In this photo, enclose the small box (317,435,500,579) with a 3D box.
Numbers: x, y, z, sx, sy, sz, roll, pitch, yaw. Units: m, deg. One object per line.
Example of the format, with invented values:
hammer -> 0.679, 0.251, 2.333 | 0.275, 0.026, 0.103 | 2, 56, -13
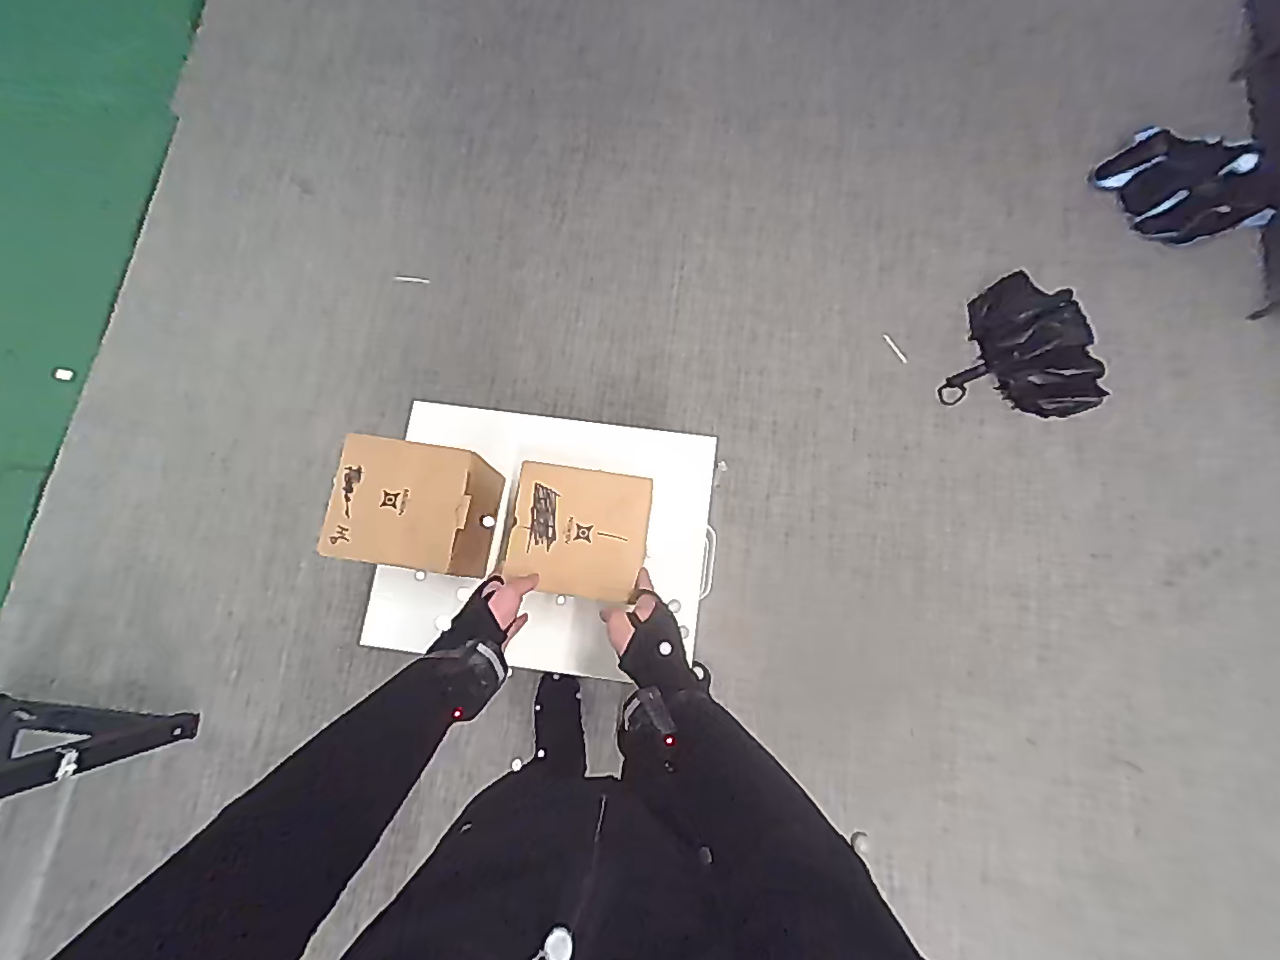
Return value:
small box -> -0.314, 0.046, 0.776 | 0.179, 0.176, 0.168 | 8, 79, 1
